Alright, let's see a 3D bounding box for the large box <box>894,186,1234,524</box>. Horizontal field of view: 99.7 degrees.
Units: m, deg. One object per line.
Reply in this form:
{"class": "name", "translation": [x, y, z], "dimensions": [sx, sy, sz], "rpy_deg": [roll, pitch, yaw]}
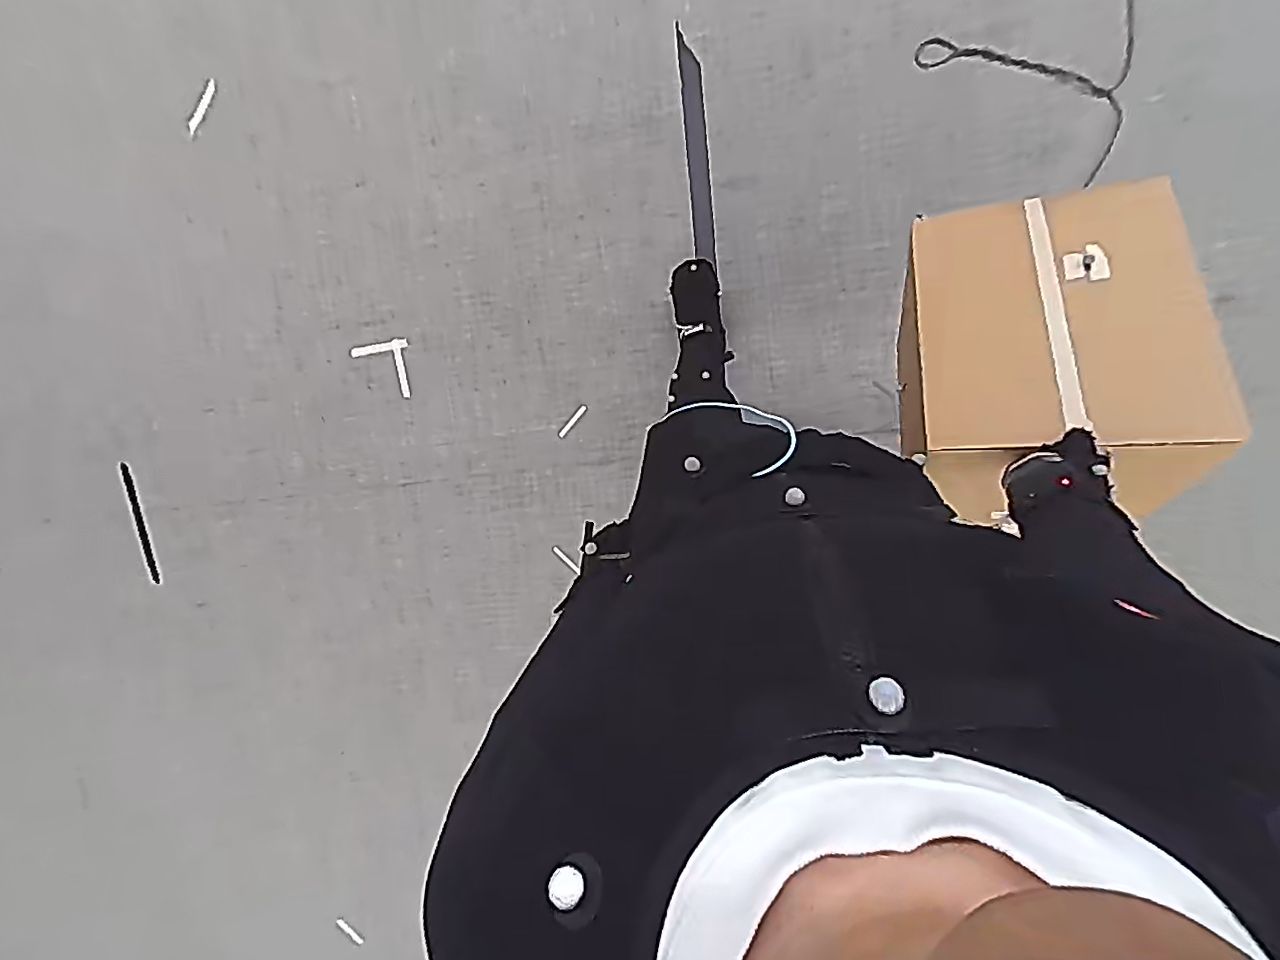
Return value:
{"class": "large box", "translation": [0.591, -0.166, 0.855], "dimensions": [0.320, 0.320, 0.408], "rpy_deg": [-1, 65, 20]}
